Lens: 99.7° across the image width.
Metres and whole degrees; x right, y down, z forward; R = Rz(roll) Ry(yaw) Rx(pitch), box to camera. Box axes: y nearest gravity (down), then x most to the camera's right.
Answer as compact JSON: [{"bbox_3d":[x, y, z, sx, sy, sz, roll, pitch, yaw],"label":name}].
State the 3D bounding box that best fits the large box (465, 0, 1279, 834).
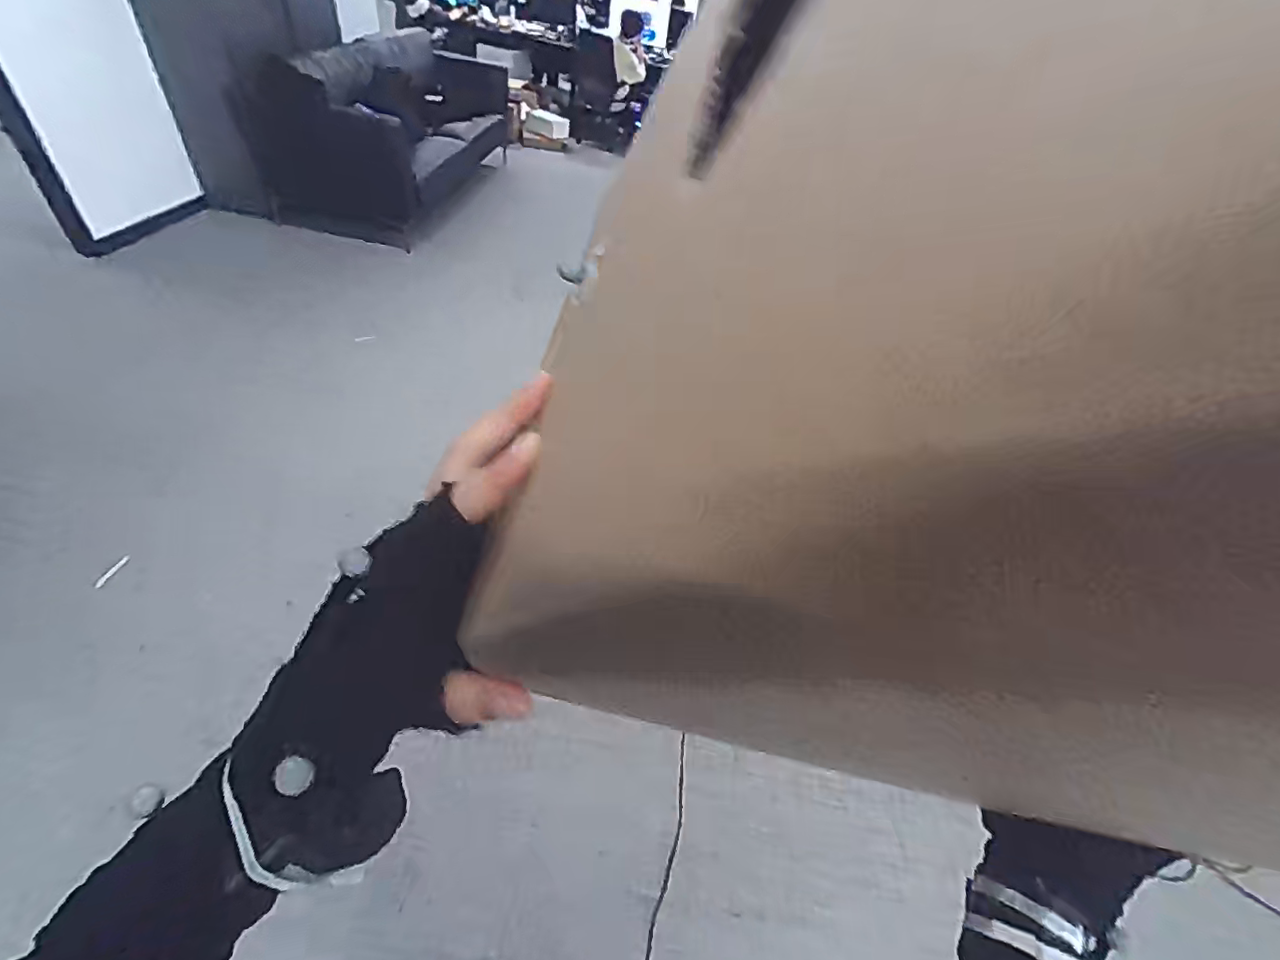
[{"bbox_3d":[0.177,-0.027,0.268,0.408,0.320,0.320,23,64,-19],"label":"large box"}]
